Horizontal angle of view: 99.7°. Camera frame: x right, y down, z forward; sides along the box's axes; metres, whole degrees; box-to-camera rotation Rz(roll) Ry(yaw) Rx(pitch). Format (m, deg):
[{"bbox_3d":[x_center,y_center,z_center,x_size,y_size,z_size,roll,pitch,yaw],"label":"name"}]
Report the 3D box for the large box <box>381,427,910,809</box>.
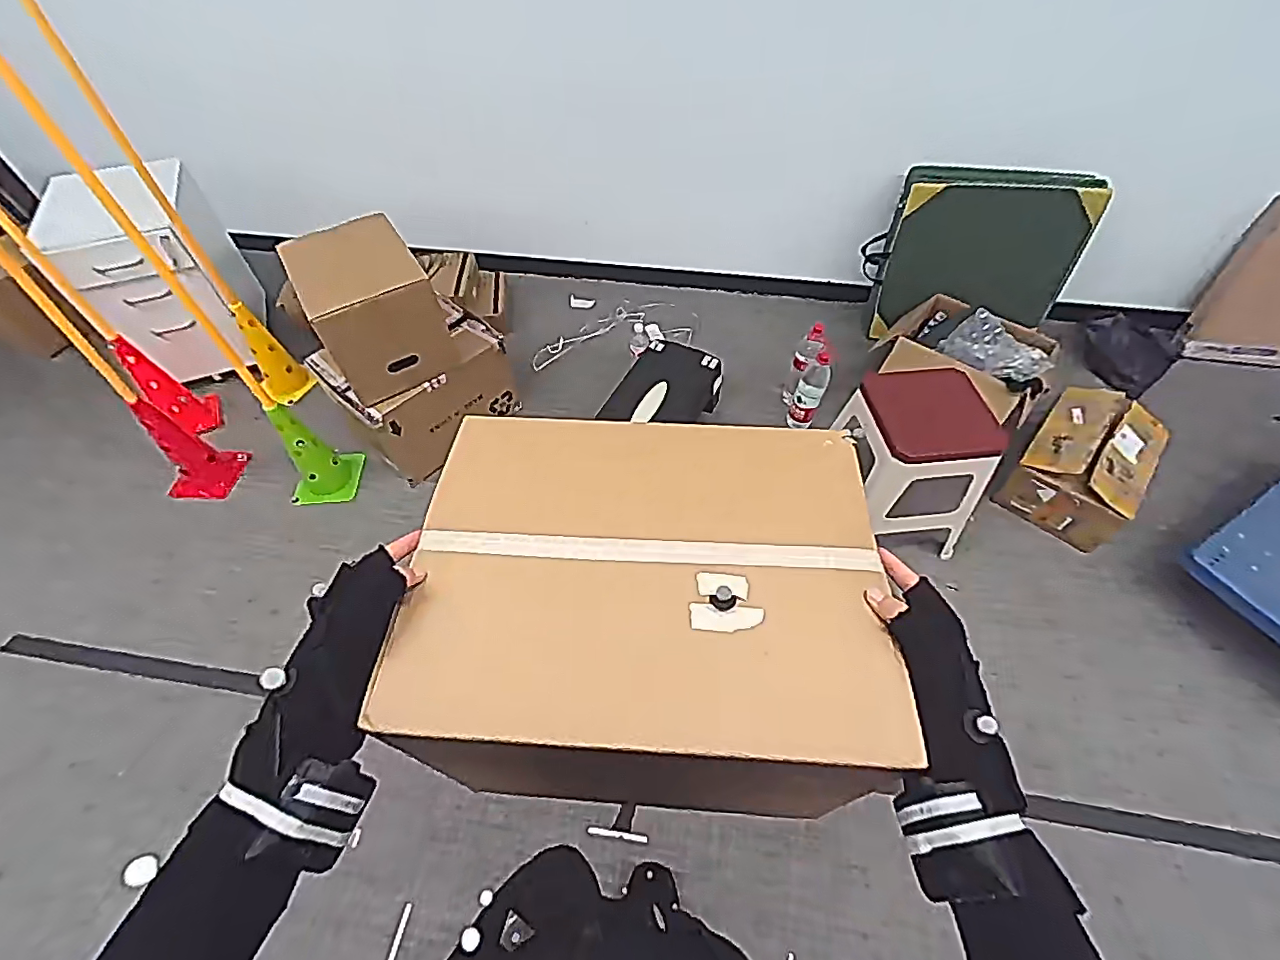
[{"bbox_3d":[0.008,0.160,0.607,0.408,0.320,0.320,3,52,3],"label":"large box"}]
